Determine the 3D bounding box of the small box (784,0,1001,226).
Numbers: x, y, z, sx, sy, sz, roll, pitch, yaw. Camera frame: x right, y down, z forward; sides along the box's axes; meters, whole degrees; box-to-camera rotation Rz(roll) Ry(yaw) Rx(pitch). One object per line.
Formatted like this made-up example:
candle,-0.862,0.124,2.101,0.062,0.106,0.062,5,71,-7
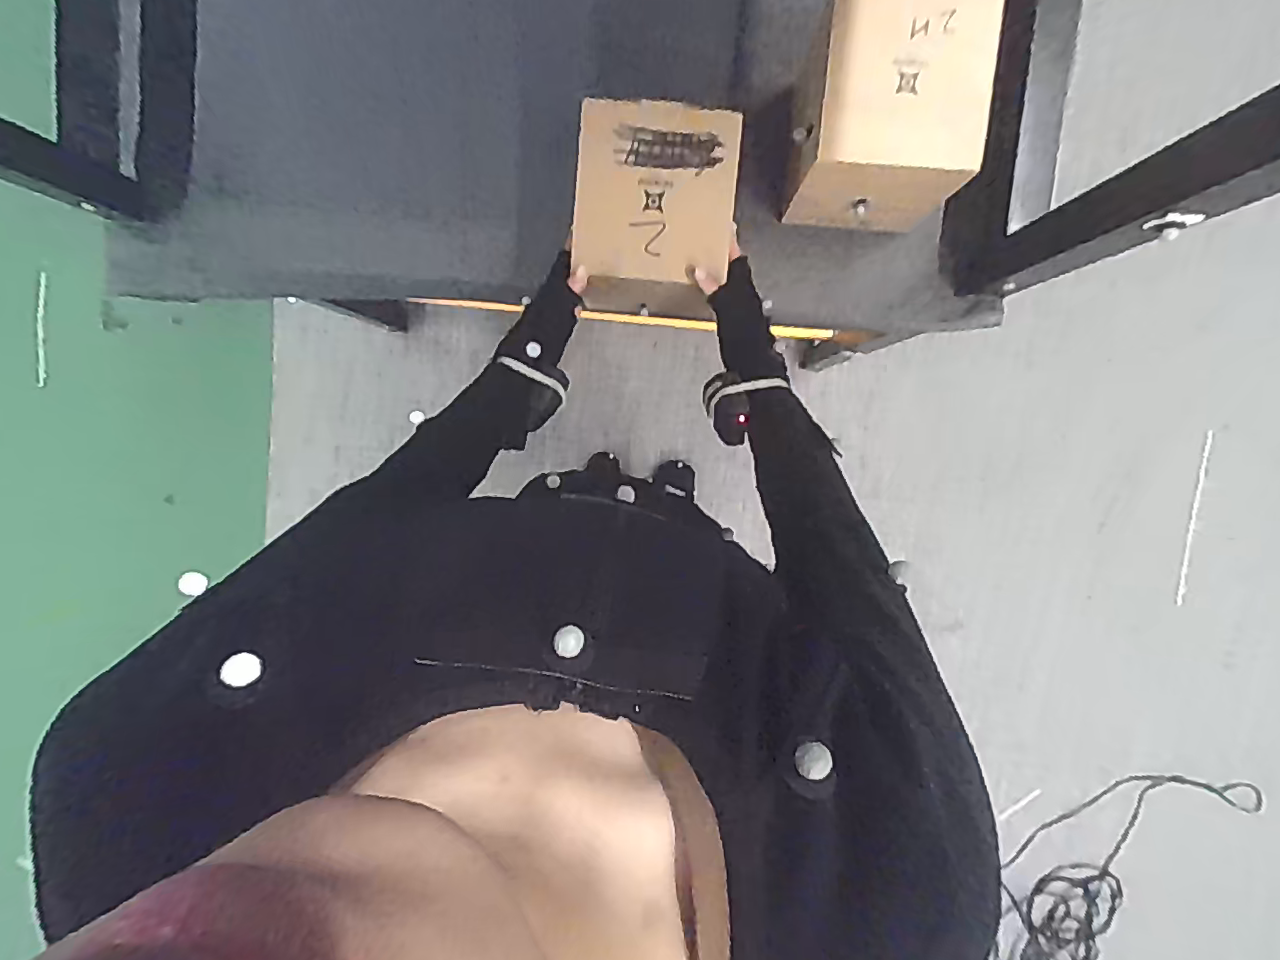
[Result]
small box,0.270,-0.412,0.621,0.168,0.176,0.179,5,94,1
